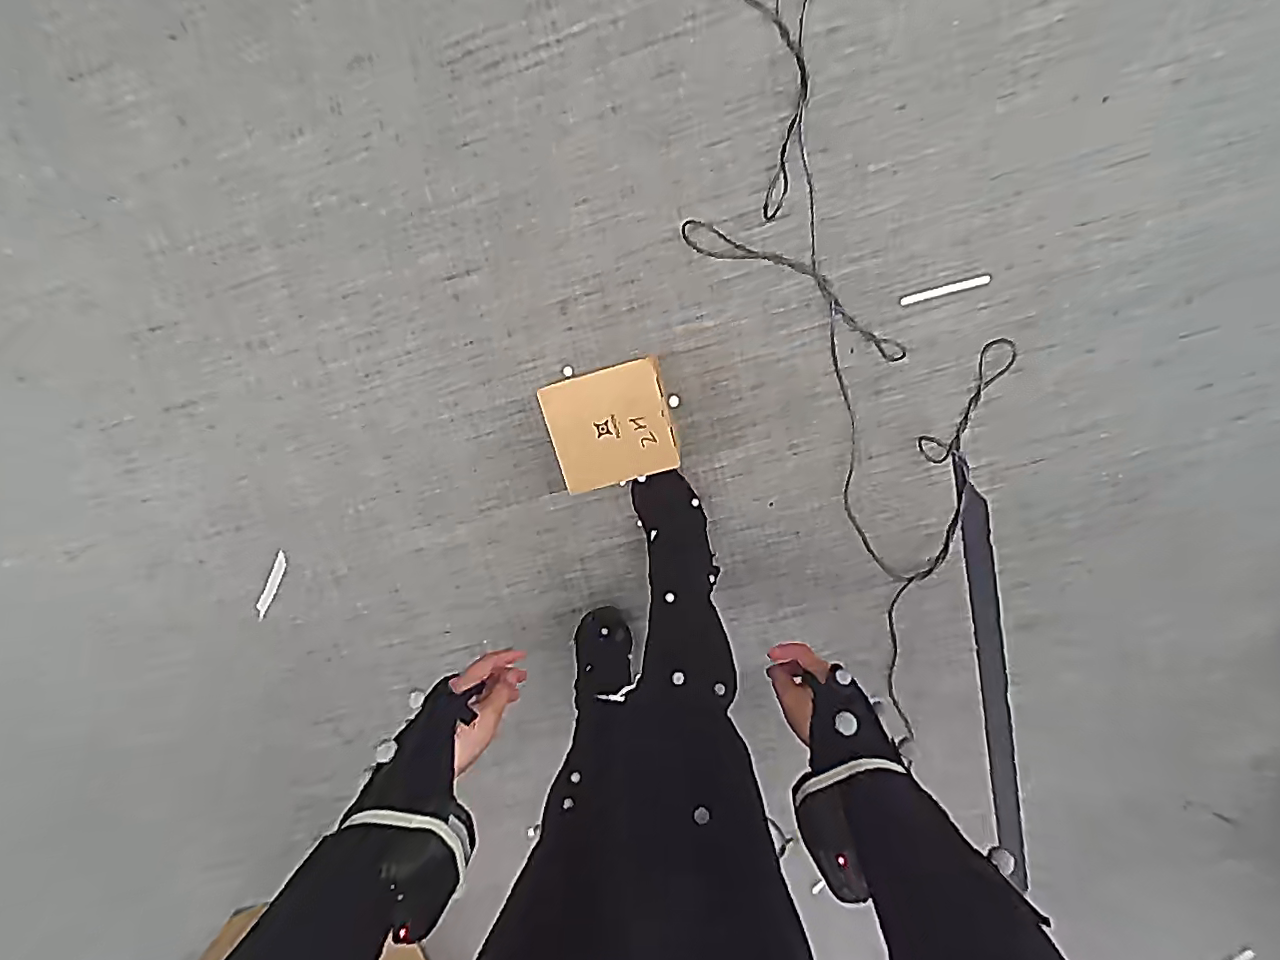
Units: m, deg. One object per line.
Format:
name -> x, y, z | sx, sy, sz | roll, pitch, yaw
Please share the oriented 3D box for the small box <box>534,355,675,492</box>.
small box -> -0.045, -0.096, 0.860 | 0.179, 0.176, 0.168 | -14, 105, 7
